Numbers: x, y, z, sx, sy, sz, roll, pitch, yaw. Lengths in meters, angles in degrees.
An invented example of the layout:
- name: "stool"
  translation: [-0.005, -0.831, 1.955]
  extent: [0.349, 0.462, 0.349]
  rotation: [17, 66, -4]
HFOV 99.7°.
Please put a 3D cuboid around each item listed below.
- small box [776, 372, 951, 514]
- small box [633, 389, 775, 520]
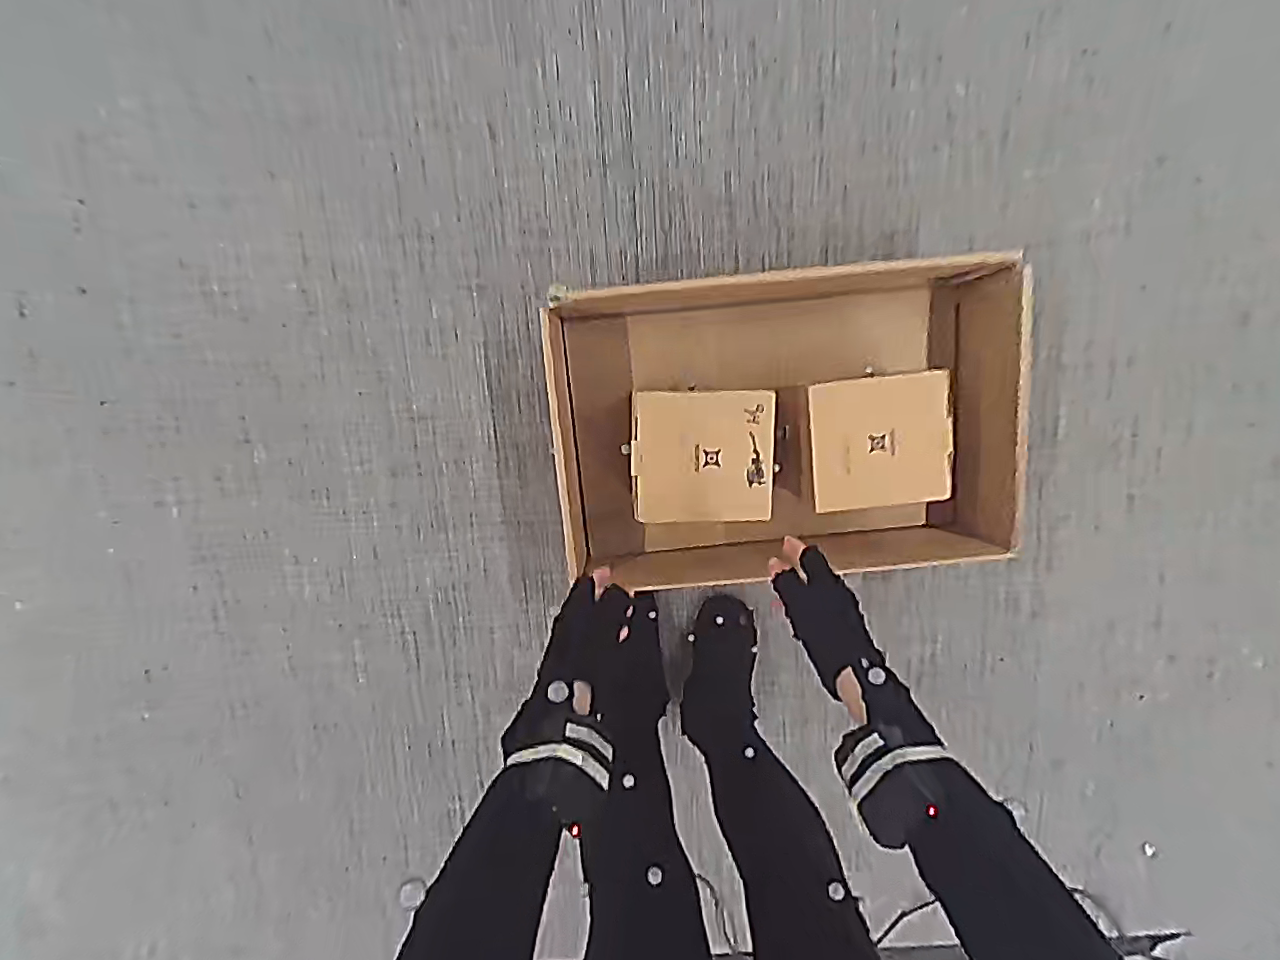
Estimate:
- name: "small box"
  translation: [0.303, -0.058, 0.758]
  extent: [0.179, 0.176, 0.168]
  rotation: [-7, 98, 2]
- name: "small box"
  translation: [0.079, -0.042, 0.754]
  extent: [0.179, 0.176, 0.168]
  rotation: [-1, 100, -1]
